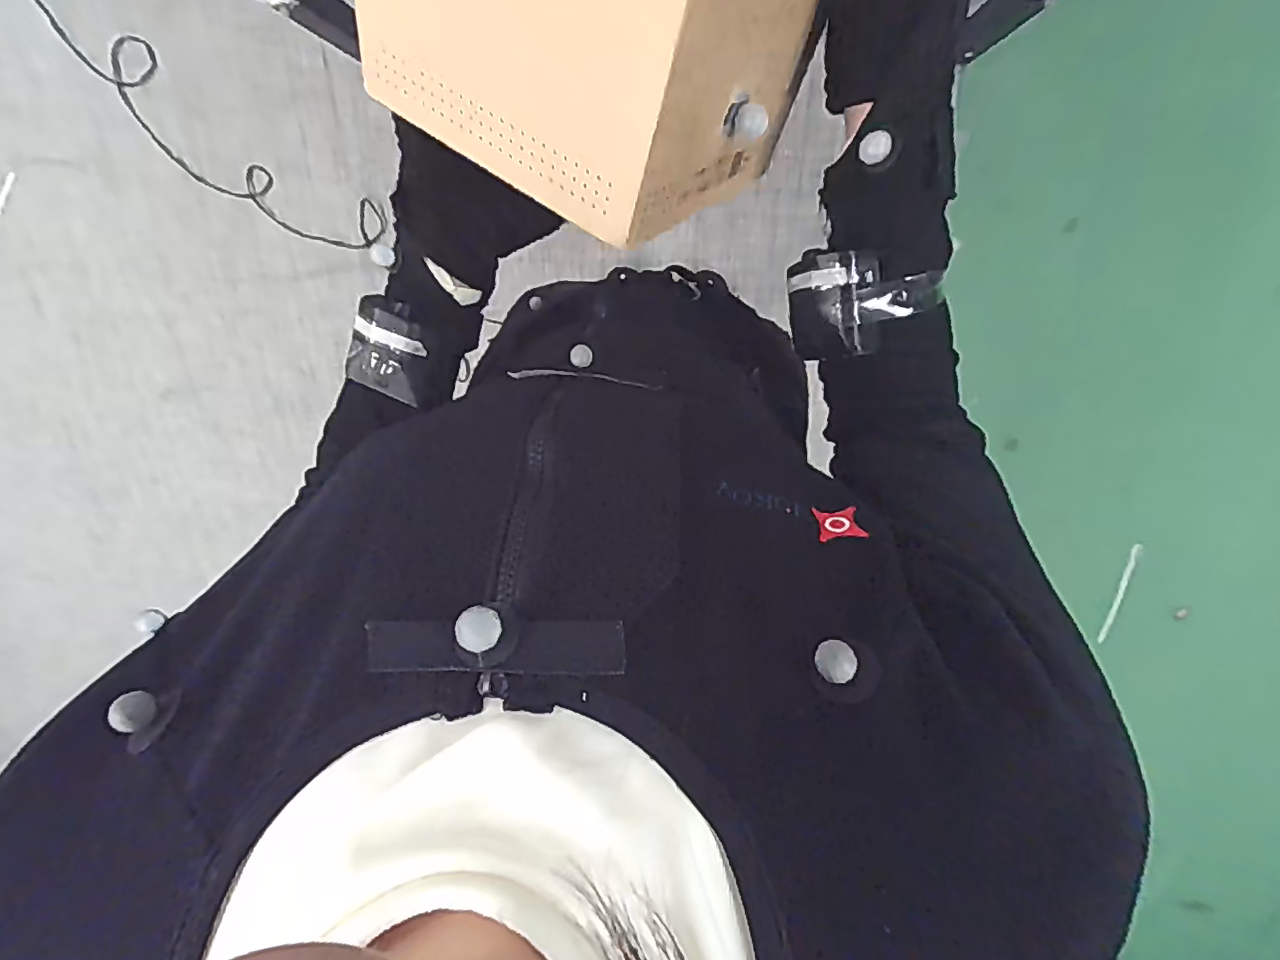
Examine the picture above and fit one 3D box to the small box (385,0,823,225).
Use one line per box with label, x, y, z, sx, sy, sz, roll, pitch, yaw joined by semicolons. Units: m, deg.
small box;-0.012;-0.263;0.271;0.179;0.168;0.176;35;143;10
